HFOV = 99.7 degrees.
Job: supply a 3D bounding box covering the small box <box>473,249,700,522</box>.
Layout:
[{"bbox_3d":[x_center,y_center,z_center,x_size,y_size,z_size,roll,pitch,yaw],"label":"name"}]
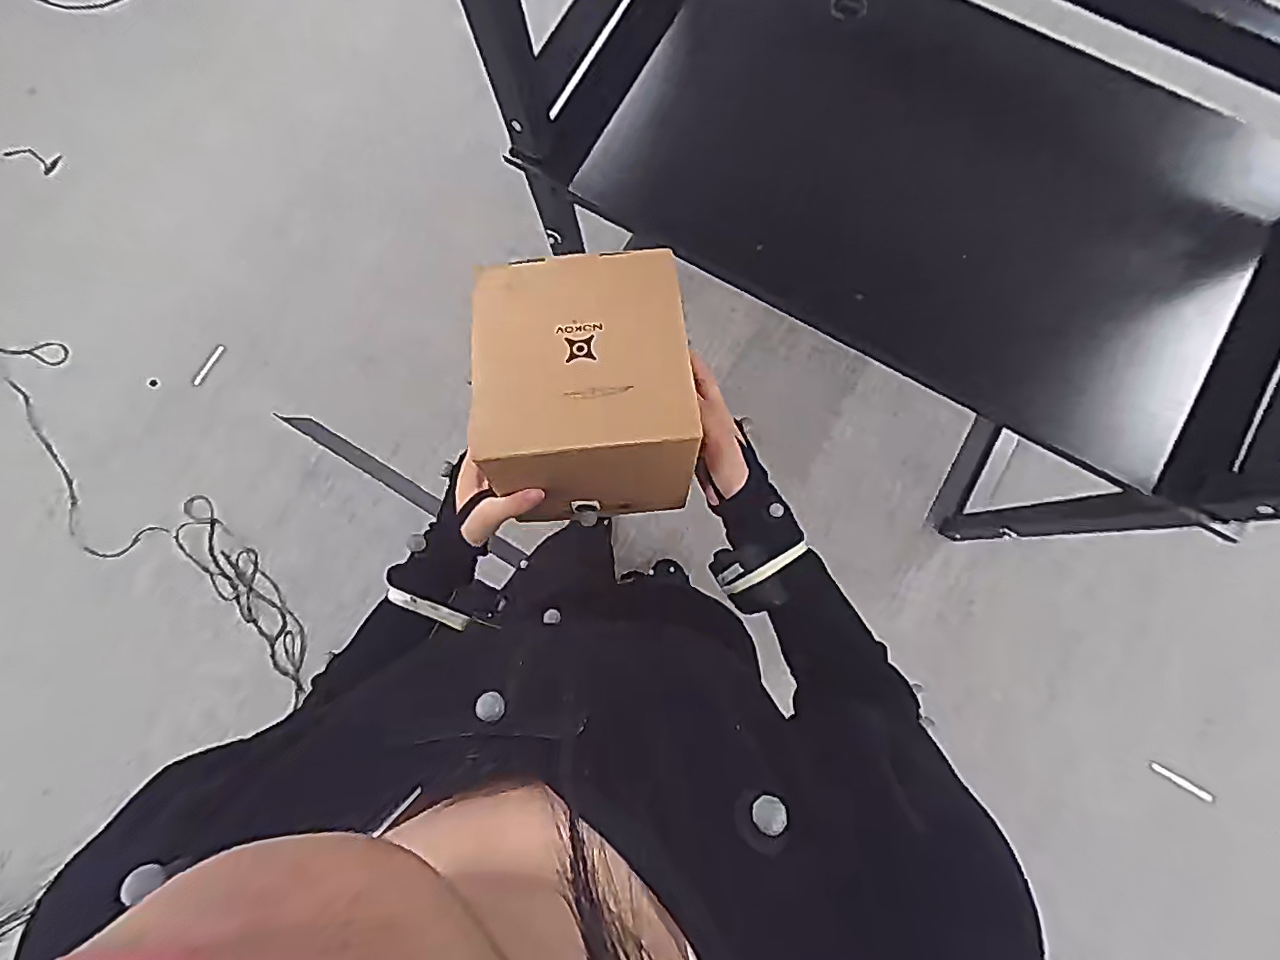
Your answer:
[{"bbox_3d":[-0.046,-0.075,0.489,0.168,0.176,0.179,-7,69,-2],"label":"small box"}]
